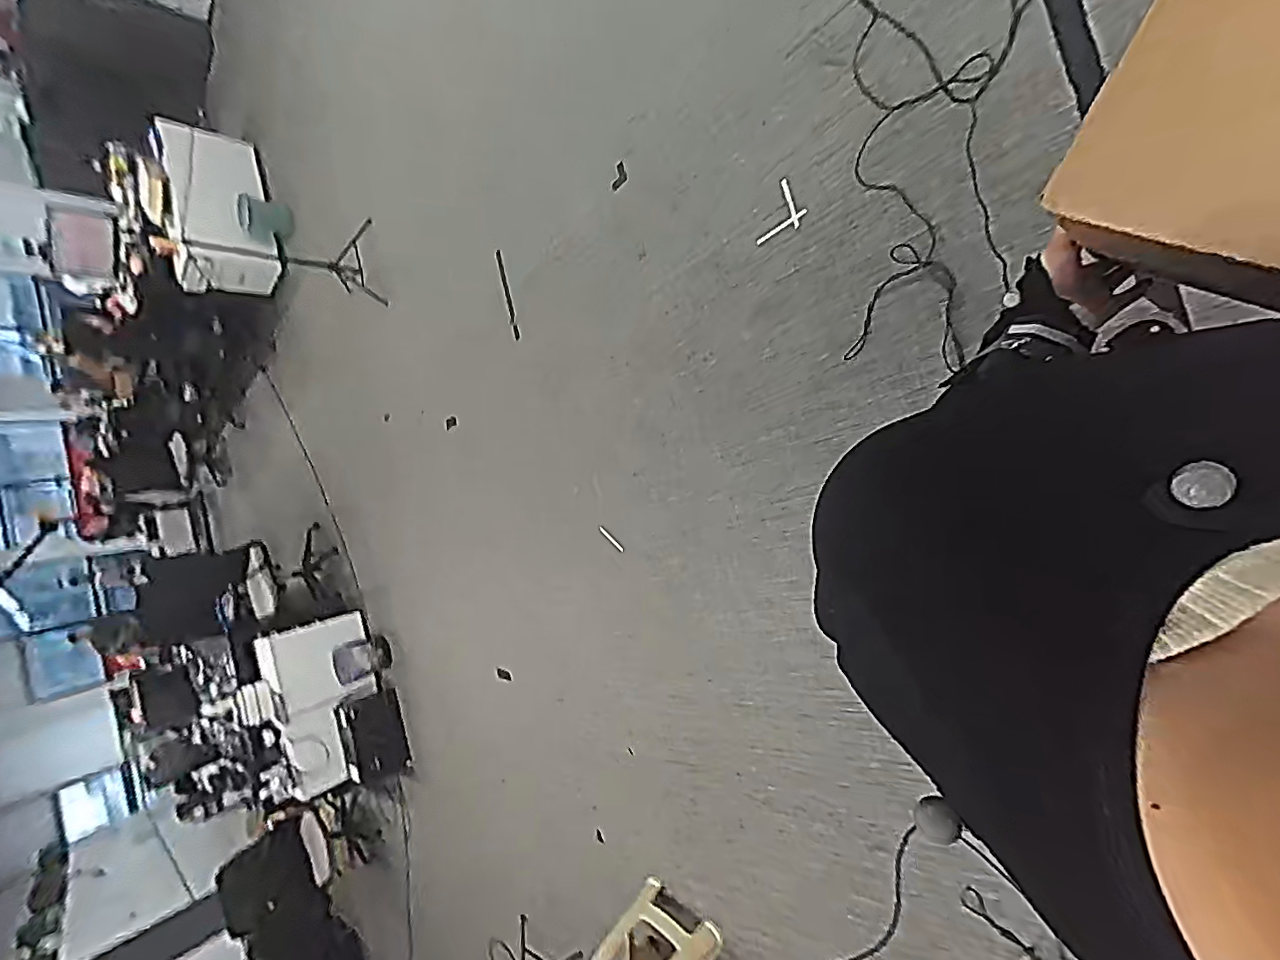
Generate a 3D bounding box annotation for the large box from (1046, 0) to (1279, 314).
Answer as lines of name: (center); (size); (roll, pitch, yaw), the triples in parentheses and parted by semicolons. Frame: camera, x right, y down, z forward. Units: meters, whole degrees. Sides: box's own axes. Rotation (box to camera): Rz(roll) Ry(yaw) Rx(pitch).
large box: (0.512, -0.217, 0.255); (0.408, 0.320, 0.320); (36, 125, 31)
